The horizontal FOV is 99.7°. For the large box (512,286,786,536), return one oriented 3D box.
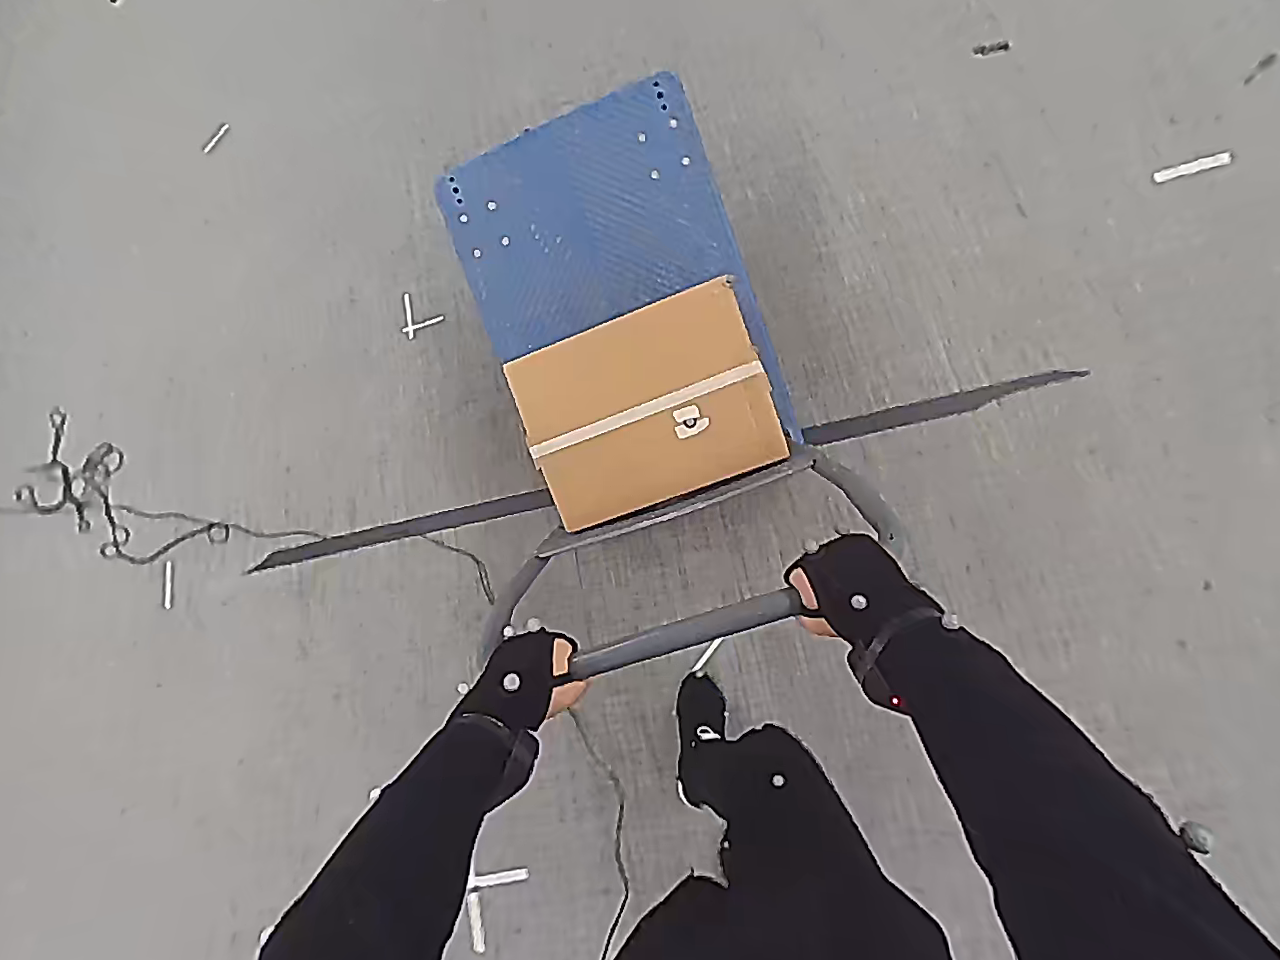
[{"bbox_3d":[0.024,-0.124,1.071,0.408,0.320,0.320,-20,95,7],"label":"large box"}]
